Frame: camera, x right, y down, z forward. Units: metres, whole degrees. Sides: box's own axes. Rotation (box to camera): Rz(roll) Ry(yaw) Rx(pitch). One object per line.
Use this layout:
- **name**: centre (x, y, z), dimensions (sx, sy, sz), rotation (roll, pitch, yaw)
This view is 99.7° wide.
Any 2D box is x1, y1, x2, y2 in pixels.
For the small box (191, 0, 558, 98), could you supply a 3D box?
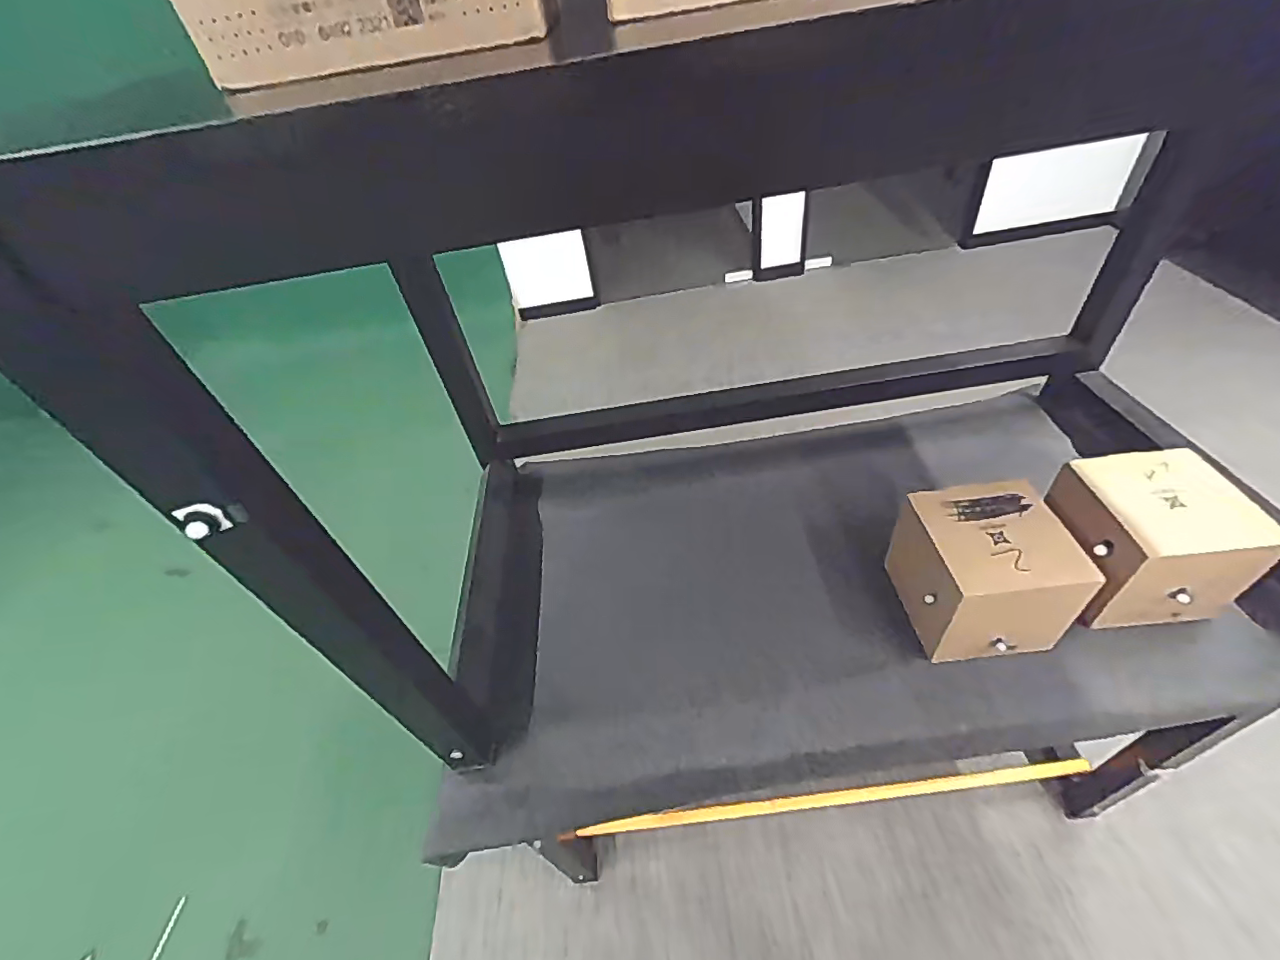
- **small box**: centre (-0.142, -0.314, 0.273), dimensions (0.168, 0.176, 0.179), rotation (-8, 45, 3)

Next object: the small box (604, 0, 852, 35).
- **small box**: centre (0.052, -0.345, 0.269), dimensions (0.168, 0.176, 0.179), rotation (-7, 44, 4)

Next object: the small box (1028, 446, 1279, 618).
- **small box**: centre (0.694, 0.079, 0.756), dimensions (0.168, 0.176, 0.179), rotation (-6, 44, 4)
